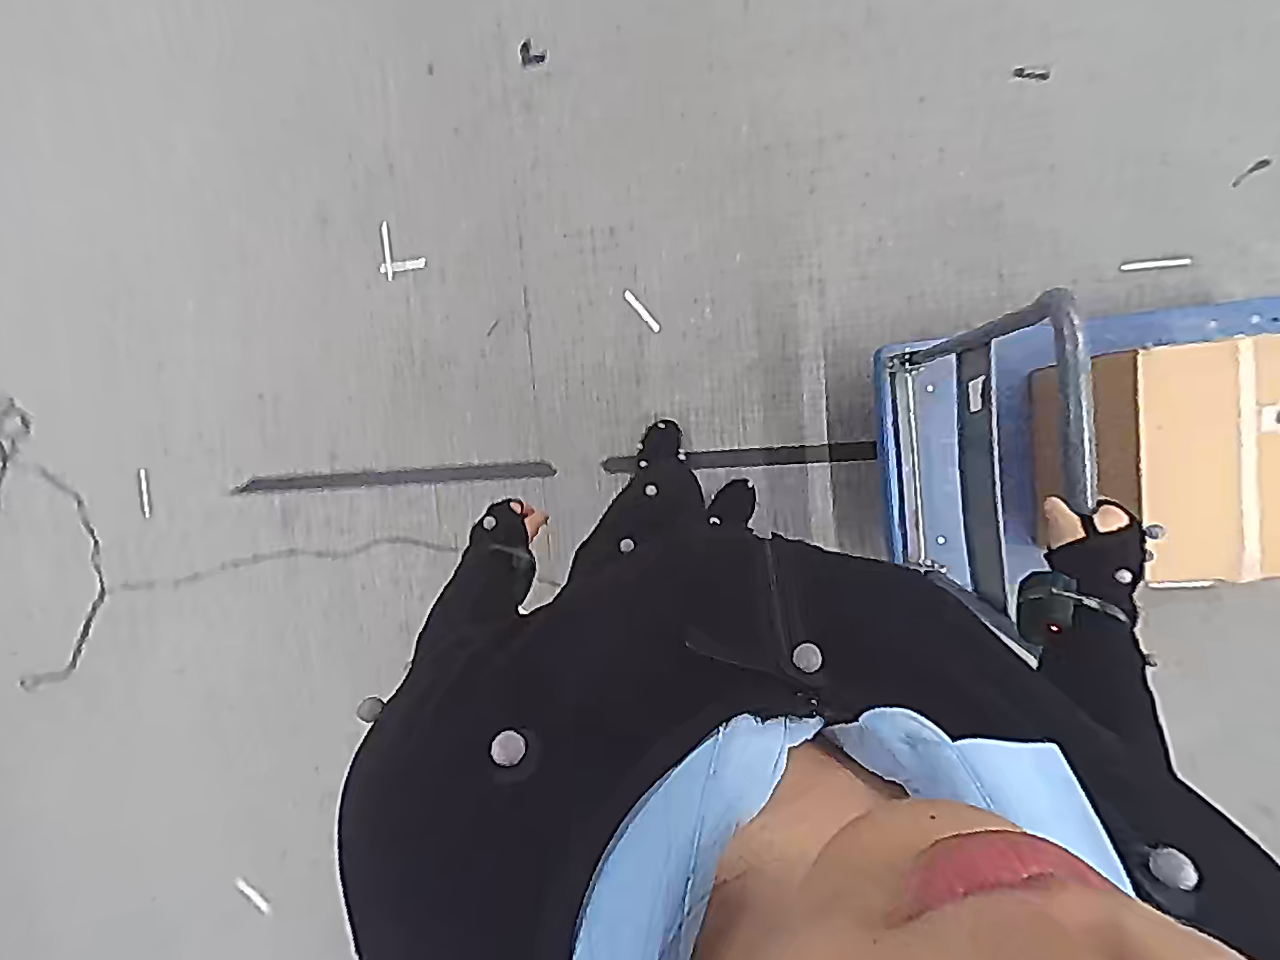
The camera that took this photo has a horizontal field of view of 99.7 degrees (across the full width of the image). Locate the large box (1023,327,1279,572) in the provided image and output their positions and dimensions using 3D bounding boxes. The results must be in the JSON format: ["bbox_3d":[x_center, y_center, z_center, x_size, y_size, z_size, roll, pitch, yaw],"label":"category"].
[{"bbox_3d":[1.015,-0.056,1.067,0.320,0.320,0.408,-5,92,6],"label":"large box"}]
